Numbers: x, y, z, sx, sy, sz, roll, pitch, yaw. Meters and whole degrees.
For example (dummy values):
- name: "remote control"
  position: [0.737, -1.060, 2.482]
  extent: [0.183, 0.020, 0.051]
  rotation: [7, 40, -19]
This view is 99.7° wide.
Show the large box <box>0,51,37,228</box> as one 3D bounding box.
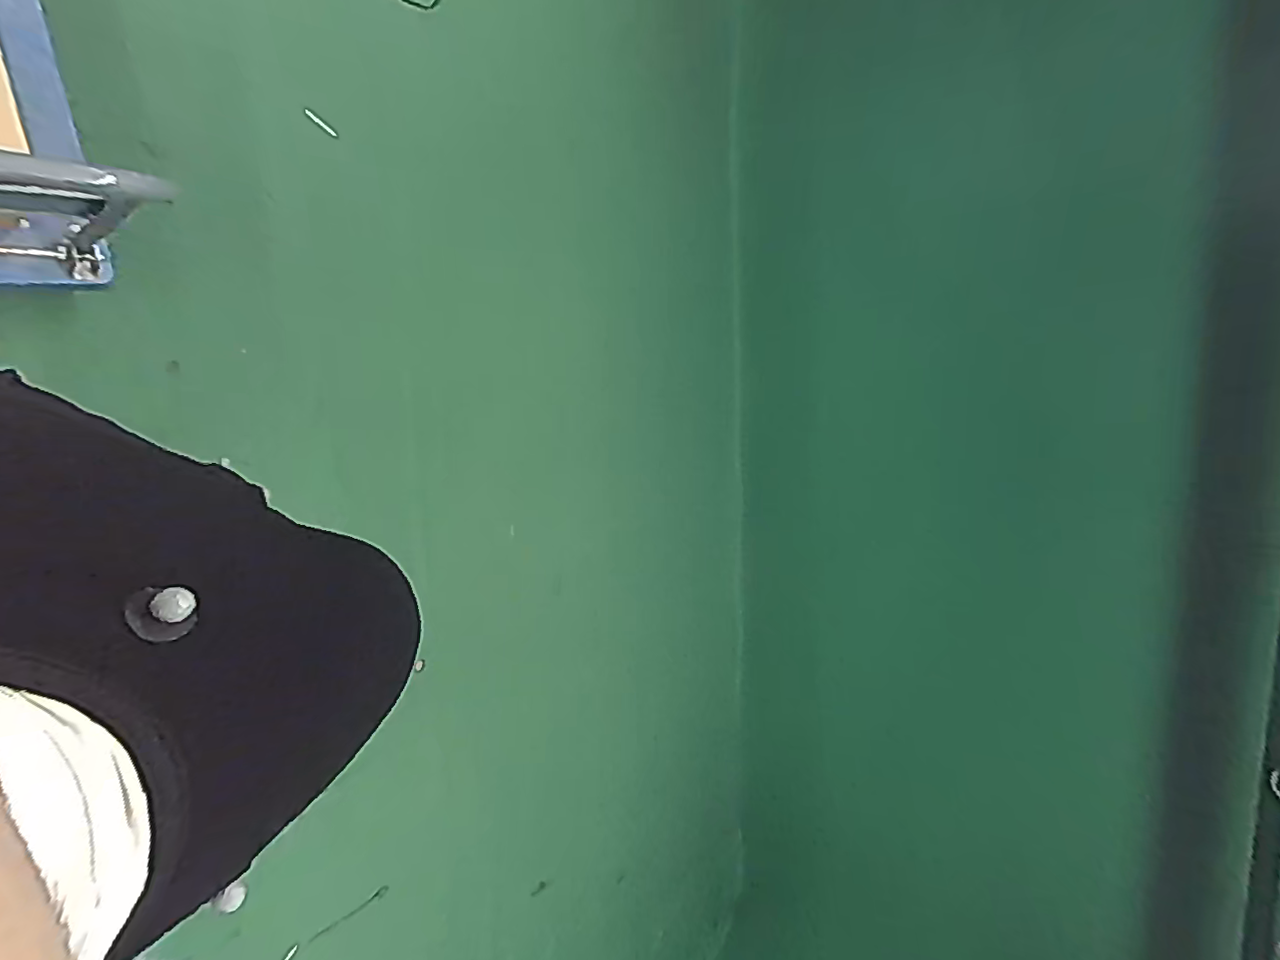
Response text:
- name: "large box"
  position: [-1.122, -0.606, 0.737]
  extent: [0.320, 0.320, 0.408]
  rotation: [-21, 107, -50]
